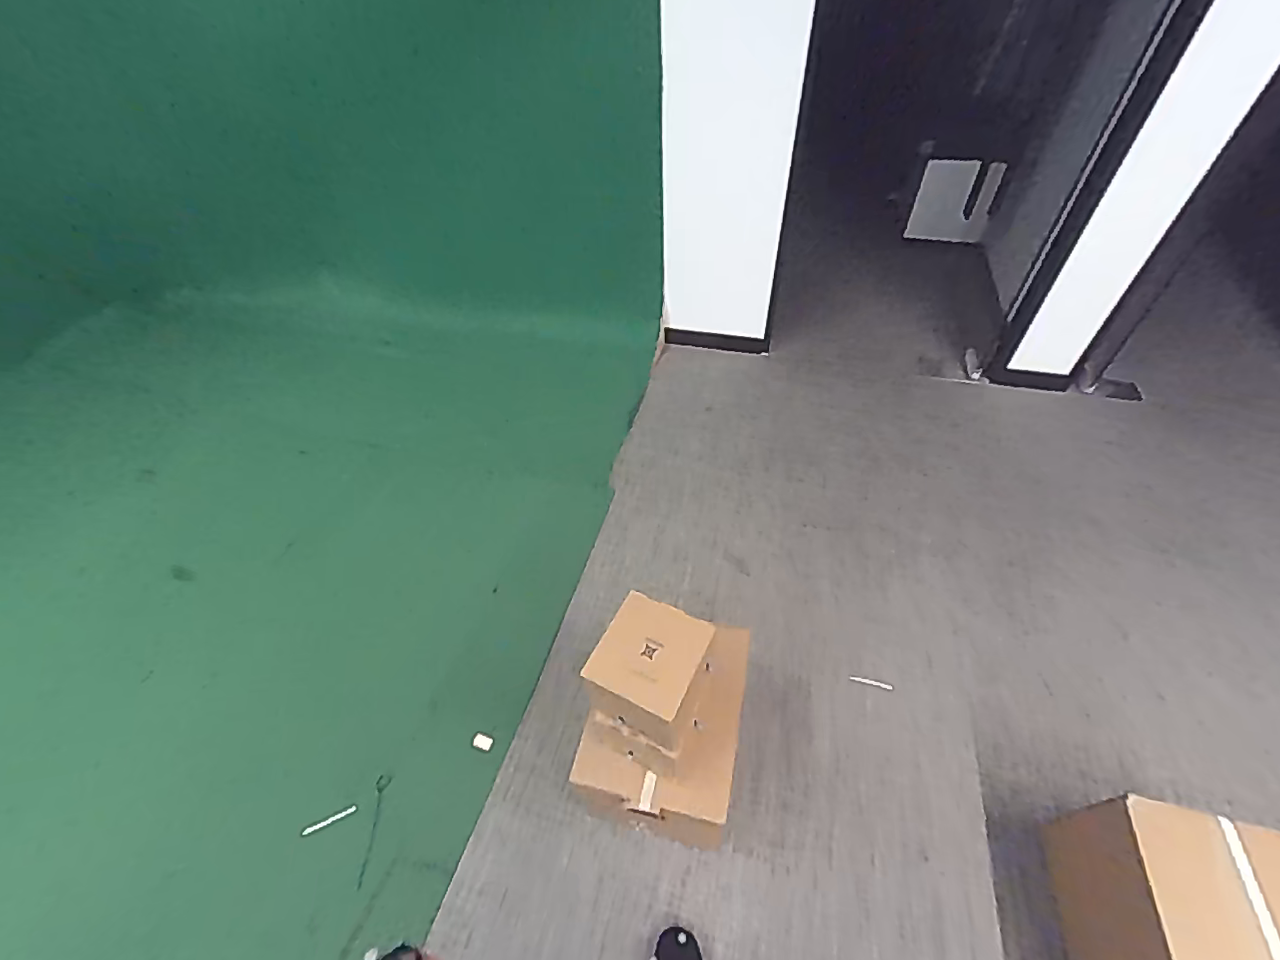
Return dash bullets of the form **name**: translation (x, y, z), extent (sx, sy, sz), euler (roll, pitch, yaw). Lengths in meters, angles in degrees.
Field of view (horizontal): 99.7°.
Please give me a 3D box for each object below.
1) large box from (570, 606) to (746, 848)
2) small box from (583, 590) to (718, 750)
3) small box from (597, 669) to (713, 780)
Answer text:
- **large box**: translation (0.062, 0.571, 1.267), extent (0.320, 0.320, 0.408), euler (10, 49, 11)
- **small box**: translation (0.022, 0.330, 0.940), extent (0.168, 0.176, 0.179), euler (20, 54, 21)
- **small box**: translation (0.032, 0.446, 1.054), extent (0.168, 0.176, 0.179), euler (18, 52, 19)
